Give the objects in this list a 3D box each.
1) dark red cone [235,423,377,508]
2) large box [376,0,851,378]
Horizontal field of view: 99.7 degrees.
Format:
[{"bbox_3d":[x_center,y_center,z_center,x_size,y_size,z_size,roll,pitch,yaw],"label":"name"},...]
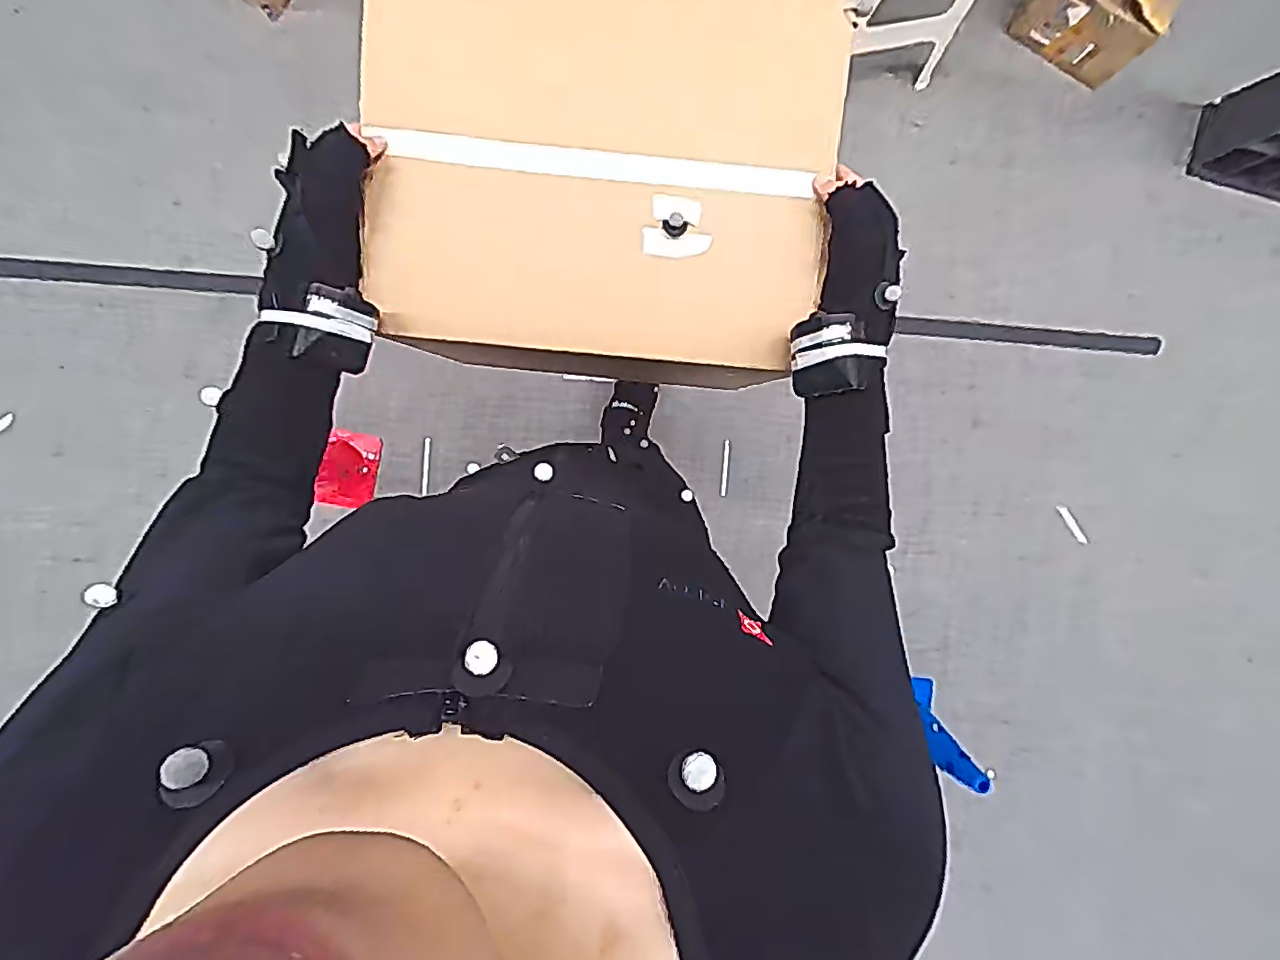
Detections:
[{"bbox_3d":[-0.770,-0.032,1.220,0.201,0.394,0.202,9,92,-5],"label":"dark red cone"},{"bbox_3d":[-0.034,-0.295,0.617,0.408,0.320,0.320,4,97,-3],"label":"large box"}]
